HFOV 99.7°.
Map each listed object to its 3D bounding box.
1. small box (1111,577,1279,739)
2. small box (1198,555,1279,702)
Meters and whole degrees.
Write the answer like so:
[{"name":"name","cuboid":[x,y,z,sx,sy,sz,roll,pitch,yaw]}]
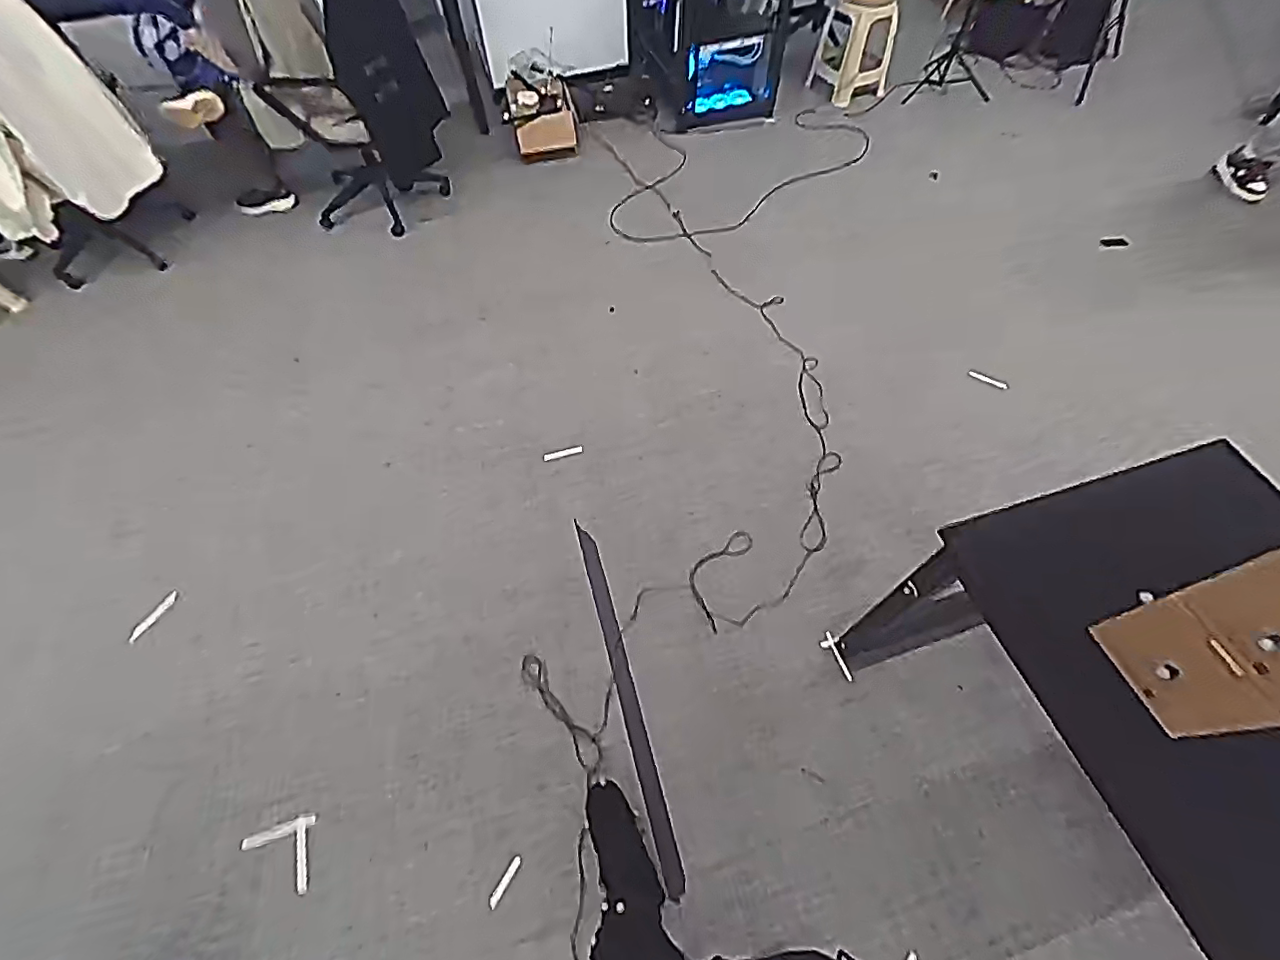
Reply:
[{"name":"small box","cuboid":[0.798,0.231,0.727,0.179,0.176,0.168,-17,60,-8]},{"name":"small box","cuboid":[0.796,0.145,0.587,0.179,0.176,0.168,-17,59,-8]}]
